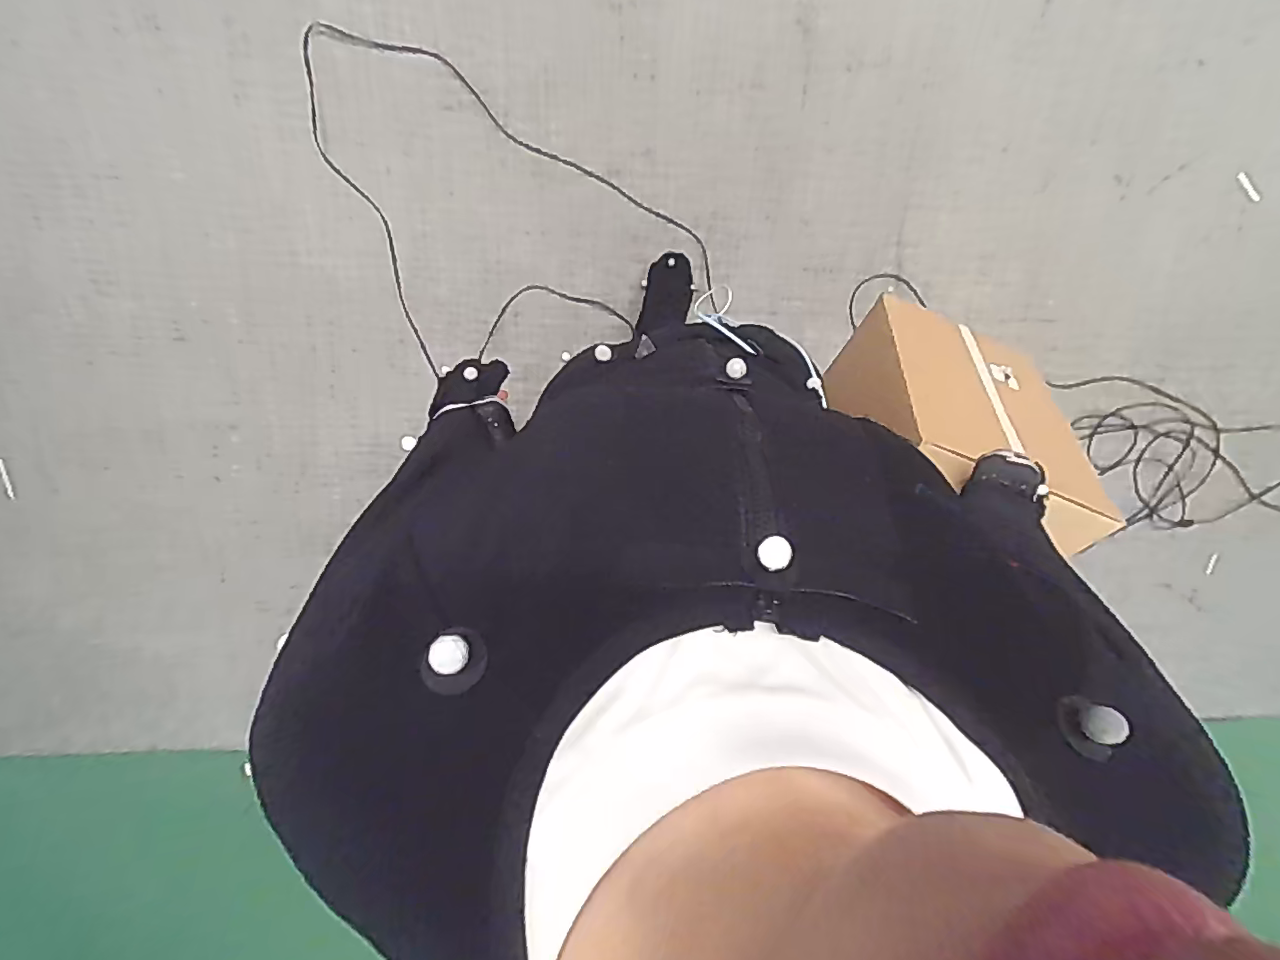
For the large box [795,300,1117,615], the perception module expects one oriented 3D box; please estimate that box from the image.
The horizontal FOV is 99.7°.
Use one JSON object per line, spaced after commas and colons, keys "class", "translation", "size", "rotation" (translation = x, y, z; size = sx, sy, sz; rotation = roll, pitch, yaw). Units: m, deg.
{"class": "large box", "translation": [0.488, -0.039, 0.950], "size": [0.320, 0.408, 0.320], "rotation": [21, 136, -7]}
